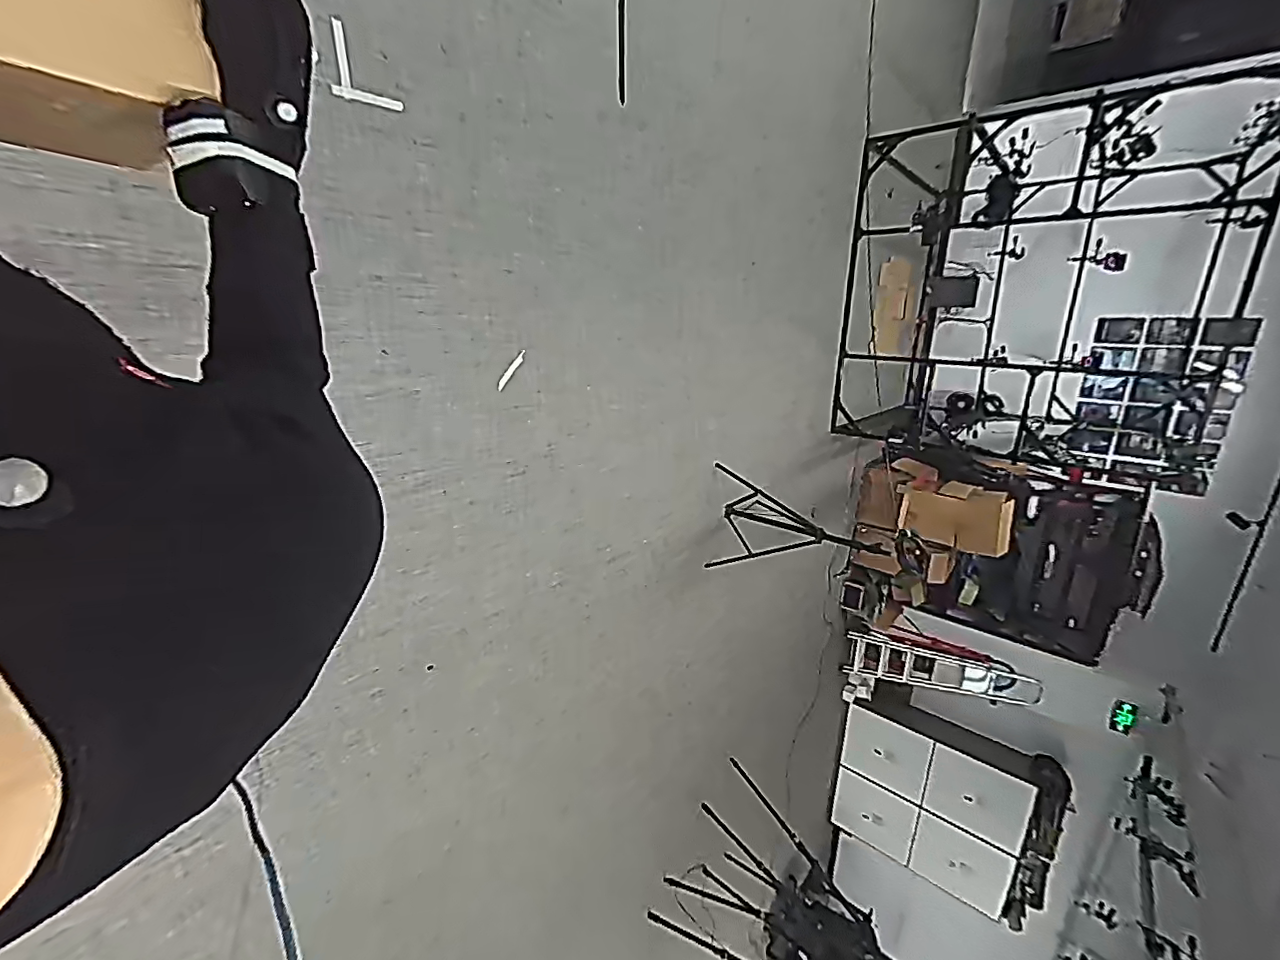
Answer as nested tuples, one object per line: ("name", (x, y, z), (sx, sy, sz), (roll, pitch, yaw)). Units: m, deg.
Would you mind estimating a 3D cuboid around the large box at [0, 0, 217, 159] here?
("large box", (-0.554, -0.428, 0.316), (0.408, 0.320, 0.320), (-14, 115, -48))
